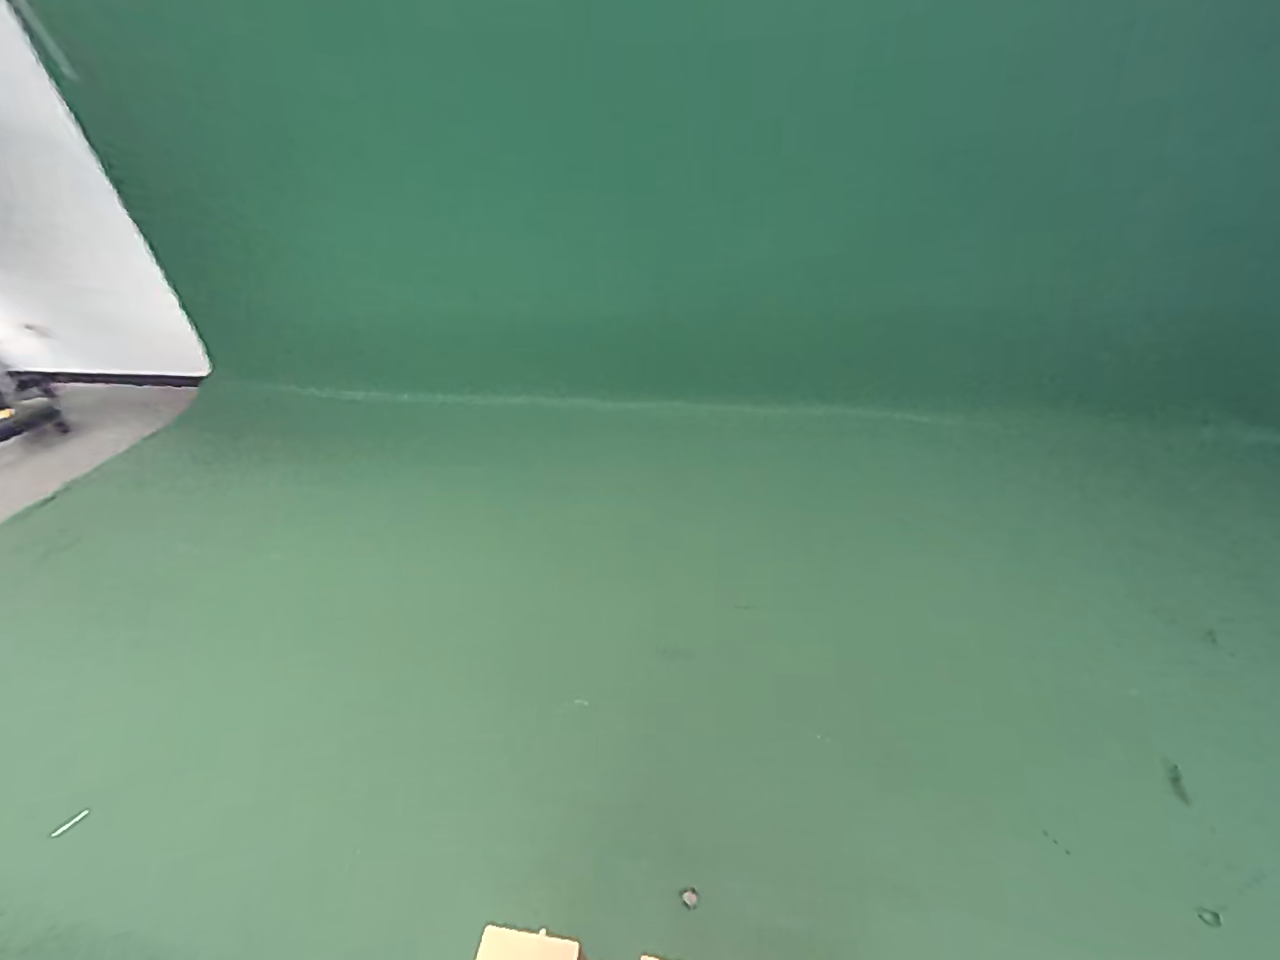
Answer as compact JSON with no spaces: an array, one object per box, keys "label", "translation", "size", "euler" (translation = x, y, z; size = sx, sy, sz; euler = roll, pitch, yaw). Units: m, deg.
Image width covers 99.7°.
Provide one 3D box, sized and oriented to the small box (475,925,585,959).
[{"label":"small box","translation":[-0.198,0.908,0.931],"size":[0.179,0.176,0.168],"euler":[3,37,10]}]
